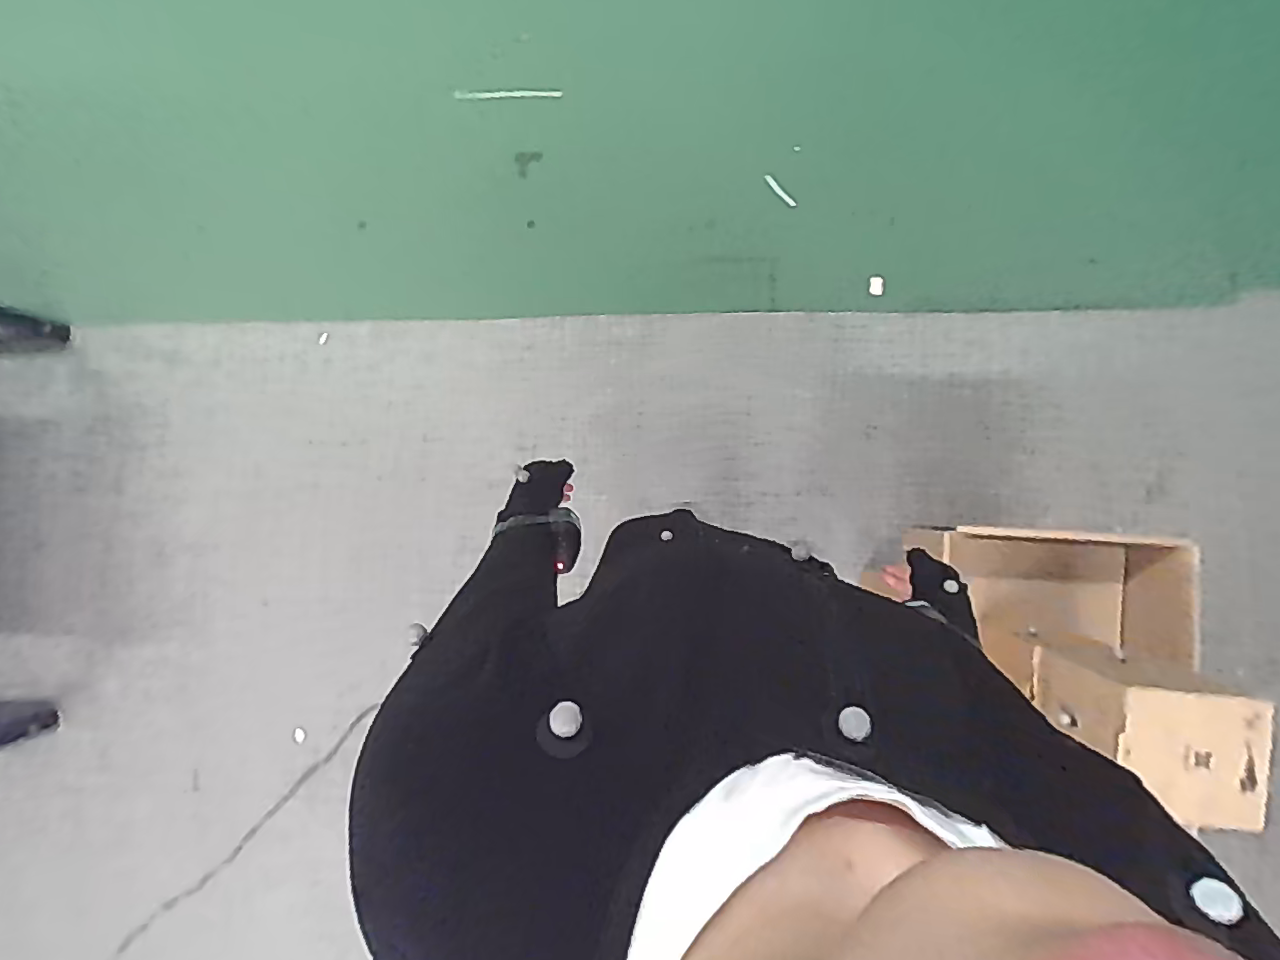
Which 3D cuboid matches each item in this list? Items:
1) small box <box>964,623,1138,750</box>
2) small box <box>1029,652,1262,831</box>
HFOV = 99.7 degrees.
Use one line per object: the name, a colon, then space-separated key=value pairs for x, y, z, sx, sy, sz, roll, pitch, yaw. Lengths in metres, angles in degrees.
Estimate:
small box: x=0.693 y=0.353 z=0.930 sx=0.179 sy=0.176 sz=0.168 roll=6 pitch=90 yaw=1
small box: x=0.695 y=0.354 z=0.766 sx=0.179 sy=0.176 sz=0.168 roll=5 pitch=91 yaw=4
